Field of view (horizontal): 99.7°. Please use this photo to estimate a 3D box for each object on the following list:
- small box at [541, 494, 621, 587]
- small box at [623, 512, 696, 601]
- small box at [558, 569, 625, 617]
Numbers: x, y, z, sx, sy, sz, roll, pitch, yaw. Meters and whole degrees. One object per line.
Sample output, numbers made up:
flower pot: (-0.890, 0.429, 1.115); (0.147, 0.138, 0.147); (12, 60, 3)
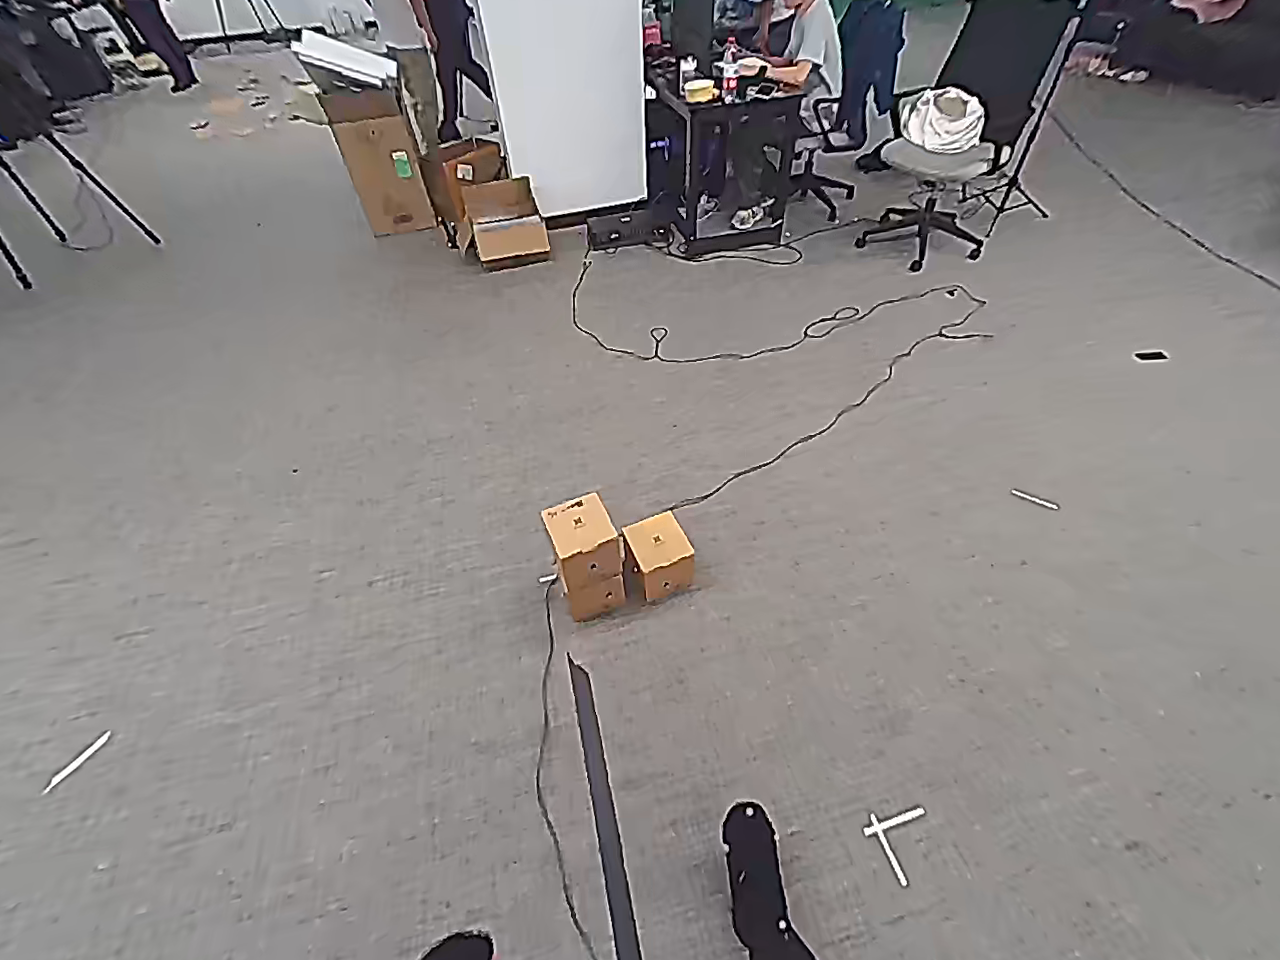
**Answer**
small box: (-0.159, 0.176, 1.499); (0.168, 0.176, 0.179); (-19, 51, -14)
small box: (0.058, 0.235, 1.651); (0.168, 0.176, 0.179); (-20, 51, -13)
small box: (-0.150, 0.289, 1.618); (0.168, 0.176, 0.179); (-17, 49, -11)
